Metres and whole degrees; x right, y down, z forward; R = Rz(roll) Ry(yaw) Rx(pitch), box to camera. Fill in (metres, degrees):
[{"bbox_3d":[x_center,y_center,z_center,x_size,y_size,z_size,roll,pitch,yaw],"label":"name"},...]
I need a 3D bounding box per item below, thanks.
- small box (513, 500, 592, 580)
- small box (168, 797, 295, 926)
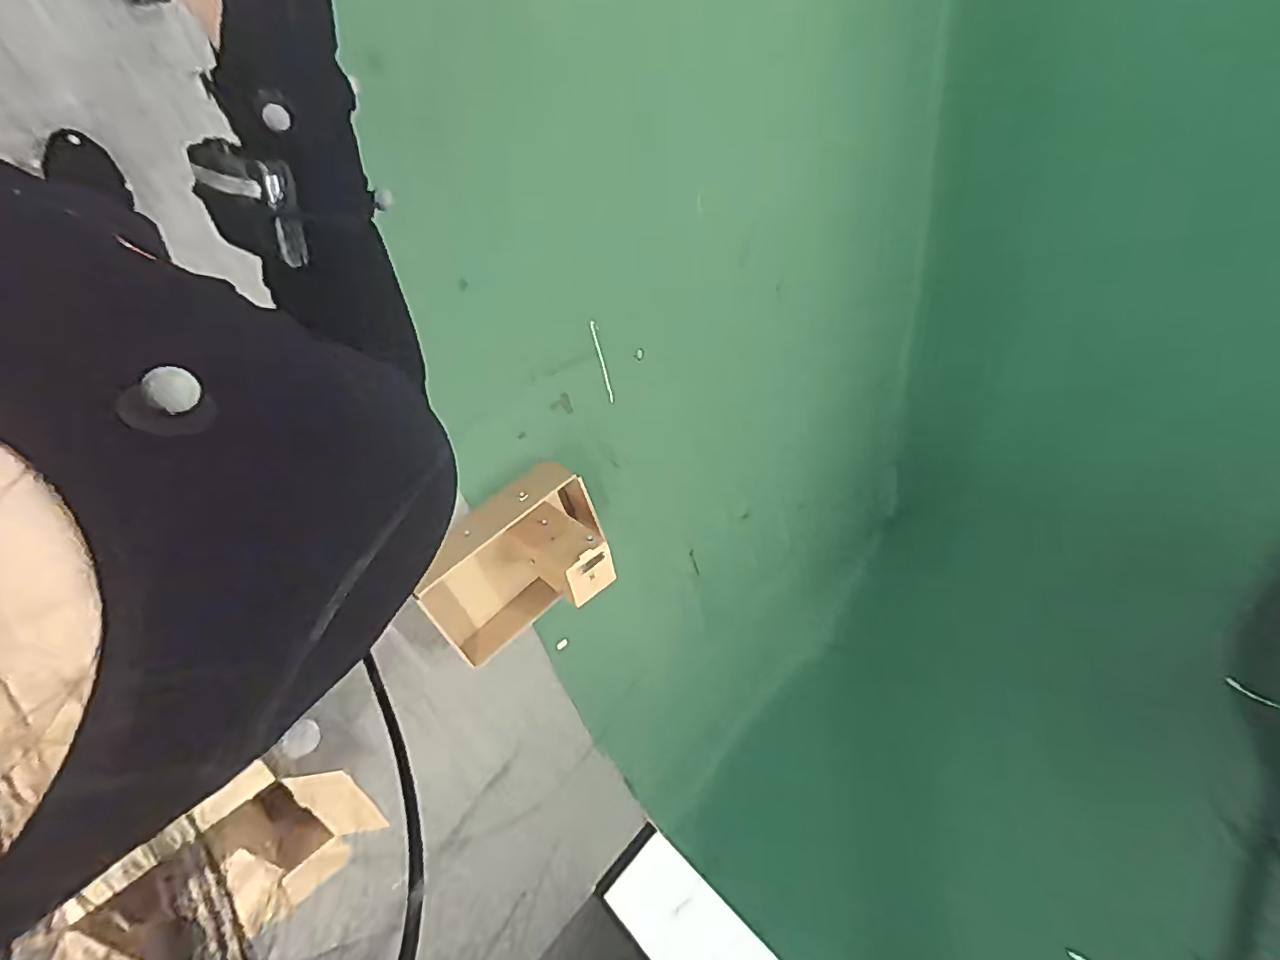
[{"bbox_3d":[-0.298,0.197,1.838,0.179,0.176,0.168,-38,133,-25],"label":"small box"},{"bbox_3d":[-0.979,0.907,1.298,0.168,0.176,0.179,-41,134,-27],"label":"small box"}]
